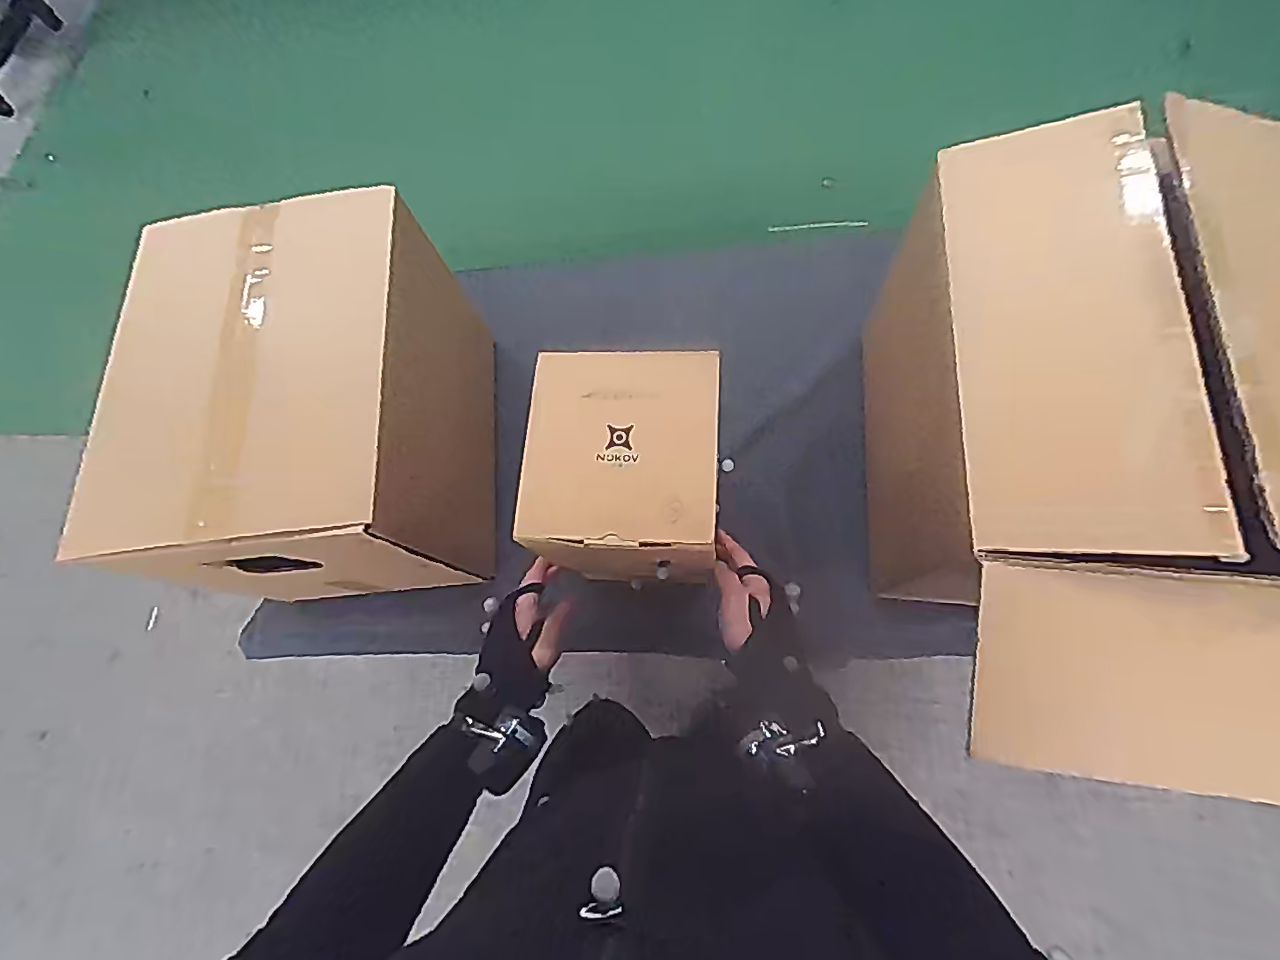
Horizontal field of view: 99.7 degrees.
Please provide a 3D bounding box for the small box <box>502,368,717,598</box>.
[{"bbox_3d":[-0.013,0.013,0.505,0.168,0.176,0.179,1,72,7],"label":"small box"}]
